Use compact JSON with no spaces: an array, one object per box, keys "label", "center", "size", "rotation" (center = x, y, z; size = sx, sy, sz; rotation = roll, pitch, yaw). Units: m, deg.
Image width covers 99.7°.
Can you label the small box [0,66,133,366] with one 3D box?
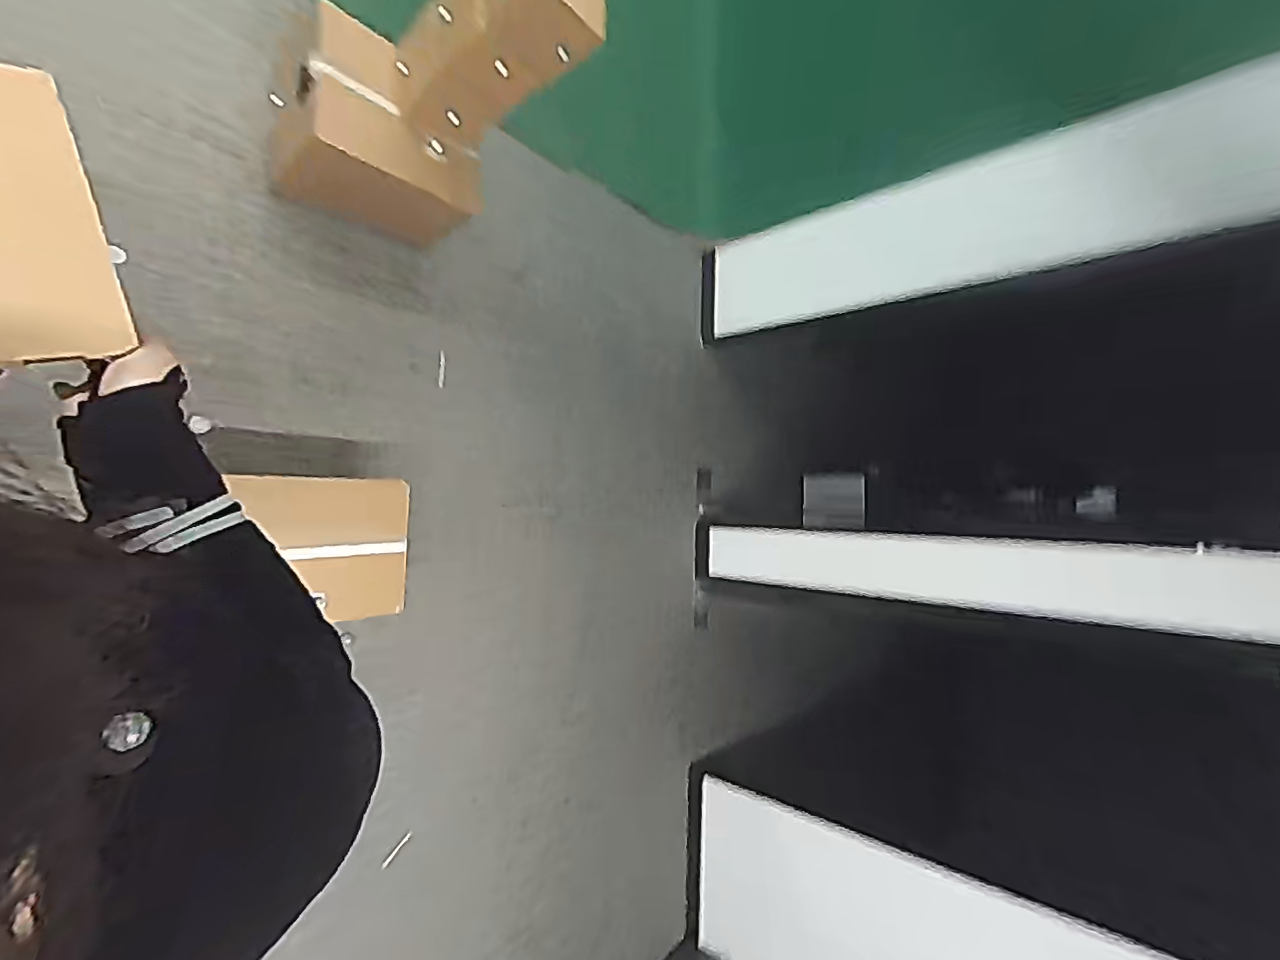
[{"label":"small box","center":[-0.485,-0.174,0.367],"size":[0.168,0.176,0.179],"rotation":[-21,120,-41]}]

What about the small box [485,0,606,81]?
[{"label":"small box","center":[-0.186,-0.951,1.082],"size":[0.179,0.176,0.168],"rotation":[7,80,-48]}]

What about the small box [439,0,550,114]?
[{"label":"small box","center":[-0.315,-0.946,1.182],"size":[0.179,0.176,0.168],"rotation":[4,83,-49]}]

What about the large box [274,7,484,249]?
[{"label":"large box","center":[-0.665,-0.856,1.395],"size":[0.408,0.320,0.320],"rotation":[4,85,-51]}]
